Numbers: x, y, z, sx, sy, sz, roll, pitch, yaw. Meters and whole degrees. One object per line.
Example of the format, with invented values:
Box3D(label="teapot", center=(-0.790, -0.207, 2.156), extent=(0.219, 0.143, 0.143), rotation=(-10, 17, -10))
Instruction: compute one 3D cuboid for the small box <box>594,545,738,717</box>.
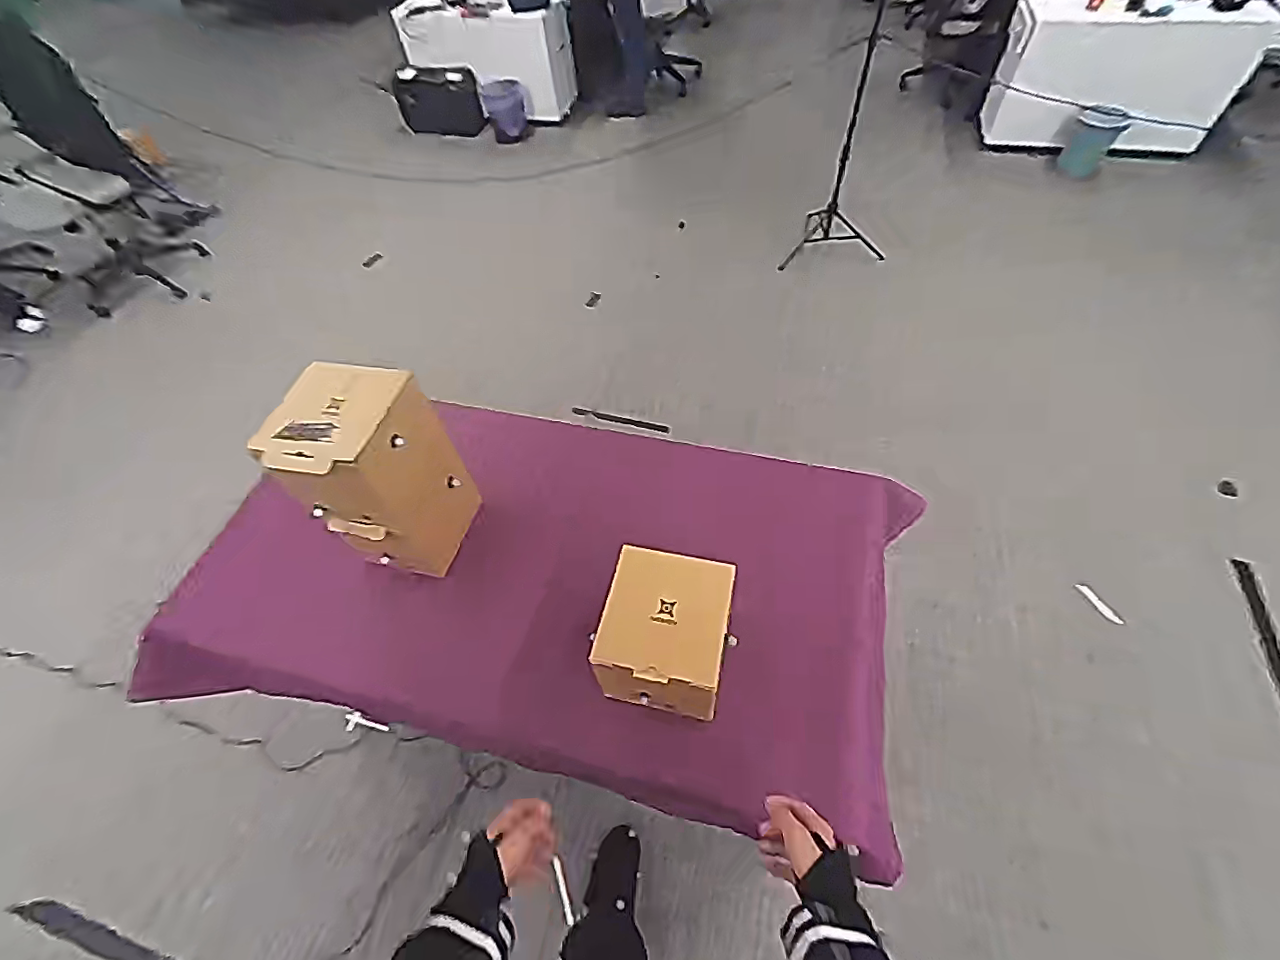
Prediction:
Box3D(label="small box", center=(0.042, 0.224, 0.792), extent=(0.168, 0.176, 0.179), rotation=(9, 56, 11))

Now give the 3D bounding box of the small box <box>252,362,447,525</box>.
Box3D(label="small box", center=(-0.418, -0.051, 0.819), extent=(0.168, 0.176, 0.179), rotation=(8, 55, 9))

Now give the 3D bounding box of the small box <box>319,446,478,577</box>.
Box3D(label="small box", center=(-0.407, 0.044, 0.952), extent=(0.168, 0.176, 0.179), rotation=(11, 56, 12))
